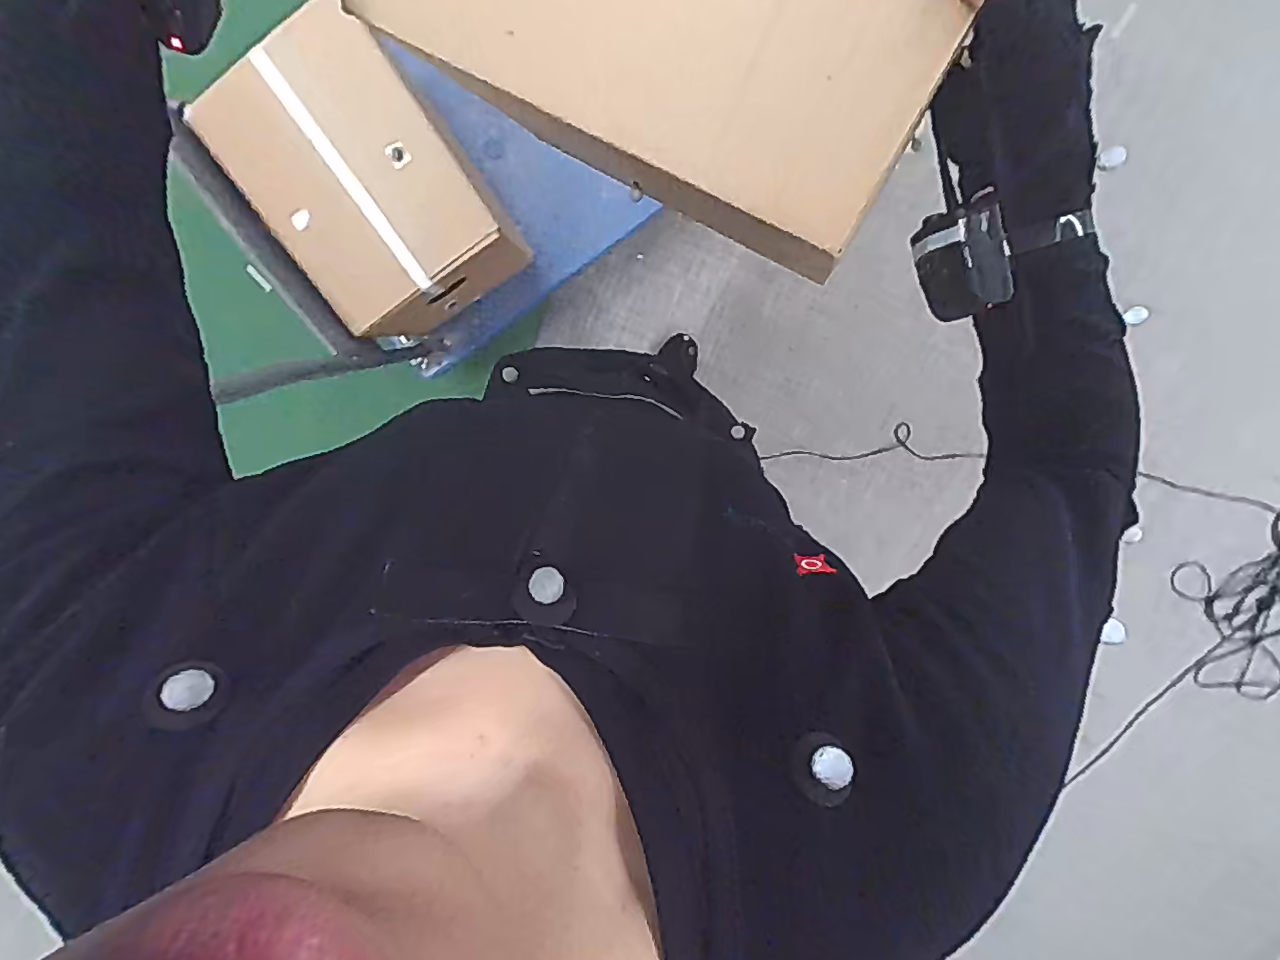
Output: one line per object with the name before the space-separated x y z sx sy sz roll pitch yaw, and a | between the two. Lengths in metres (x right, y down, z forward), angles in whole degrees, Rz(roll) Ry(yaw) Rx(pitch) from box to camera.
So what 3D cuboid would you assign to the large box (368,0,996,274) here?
large box | 0.072 -0.410 0.456 0.408 0.320 0.320 31 112 8
